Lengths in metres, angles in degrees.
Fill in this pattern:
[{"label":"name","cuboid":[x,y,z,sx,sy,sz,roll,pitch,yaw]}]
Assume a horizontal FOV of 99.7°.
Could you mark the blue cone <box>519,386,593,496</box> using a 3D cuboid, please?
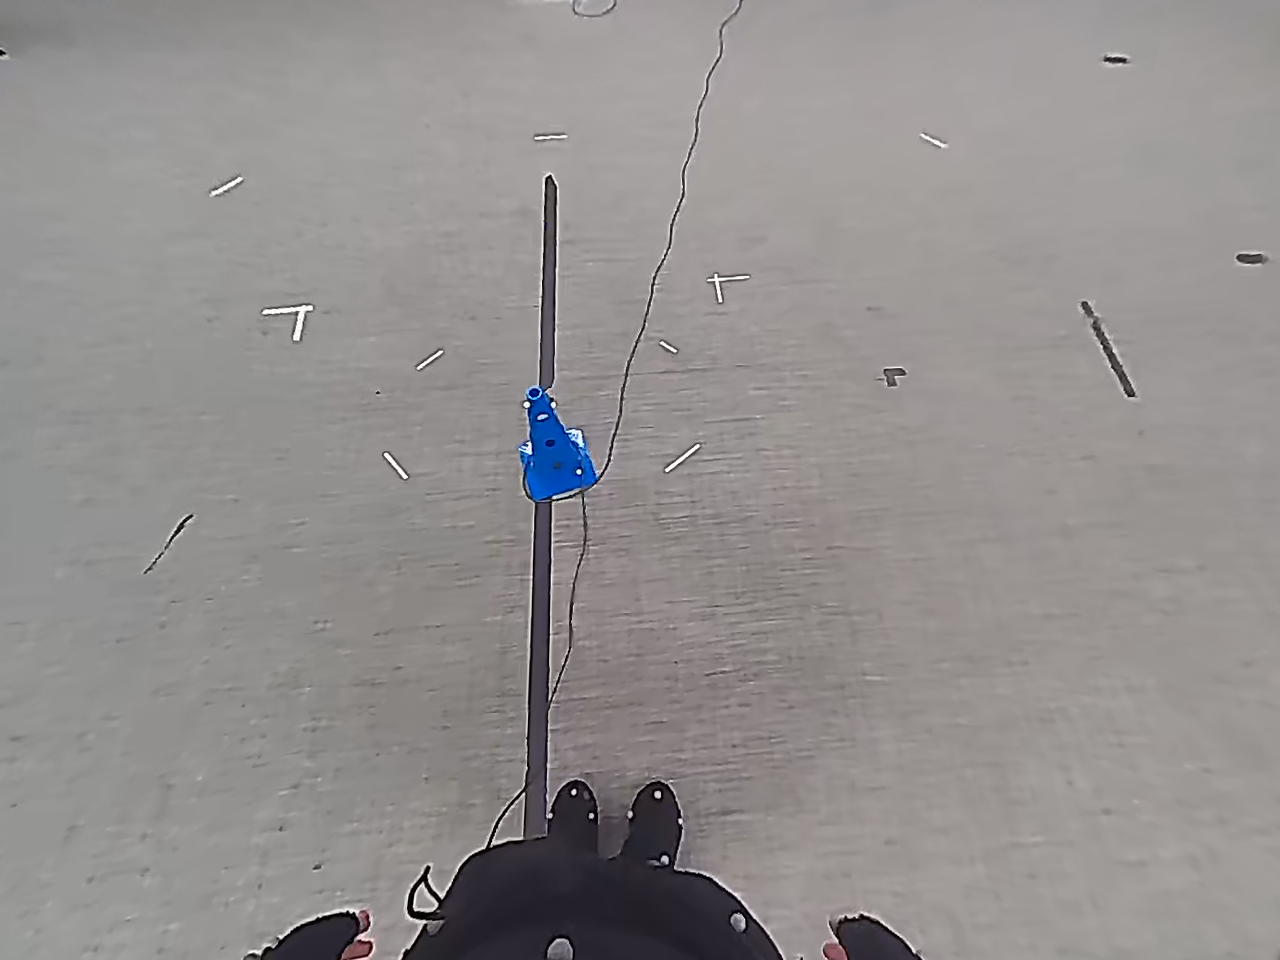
[{"label":"blue cone","cuboid":[-0.250,-0.131,1.443,0.193,0.380,0.192,-18,64,-9]}]
